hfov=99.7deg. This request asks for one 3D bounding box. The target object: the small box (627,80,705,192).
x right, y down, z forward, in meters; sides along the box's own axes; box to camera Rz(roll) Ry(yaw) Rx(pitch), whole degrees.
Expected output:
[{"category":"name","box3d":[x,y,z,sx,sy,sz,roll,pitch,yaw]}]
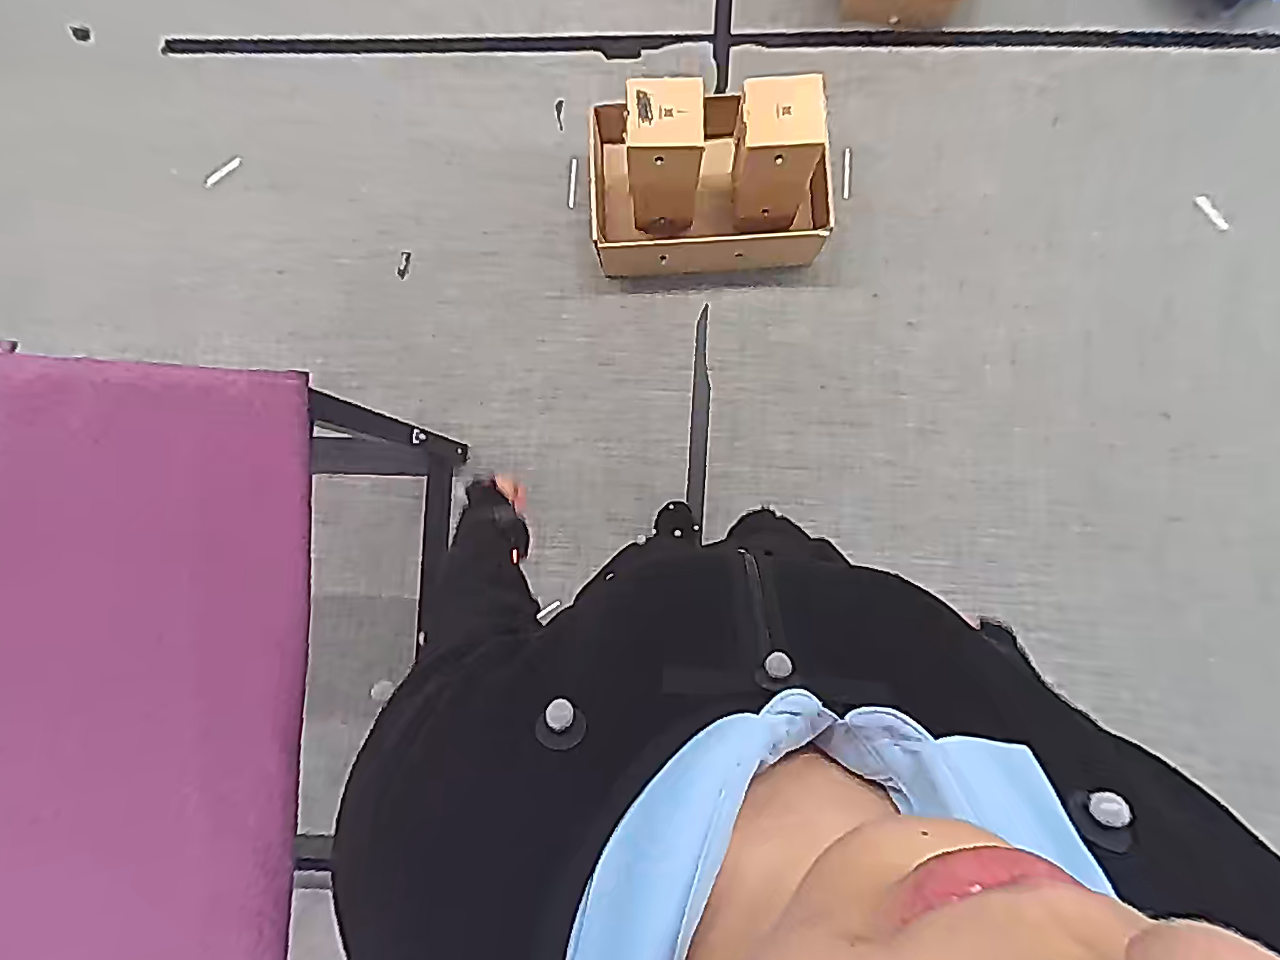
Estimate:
[{"category":"small box","box3d":[0.061,-0.813,1.292,0.179,0.176,0.168,0,86,1]}]

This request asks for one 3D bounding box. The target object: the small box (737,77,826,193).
[{"category":"small box","box3d":[0.329,-0.809,1.281,0.179,0.176,0.168,-1,85,4]}]

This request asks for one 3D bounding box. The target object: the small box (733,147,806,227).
[{"category":"small box","box3d":[0.341,-0.797,1.443,0.168,0.176,0.179,-1,84,3]}]
